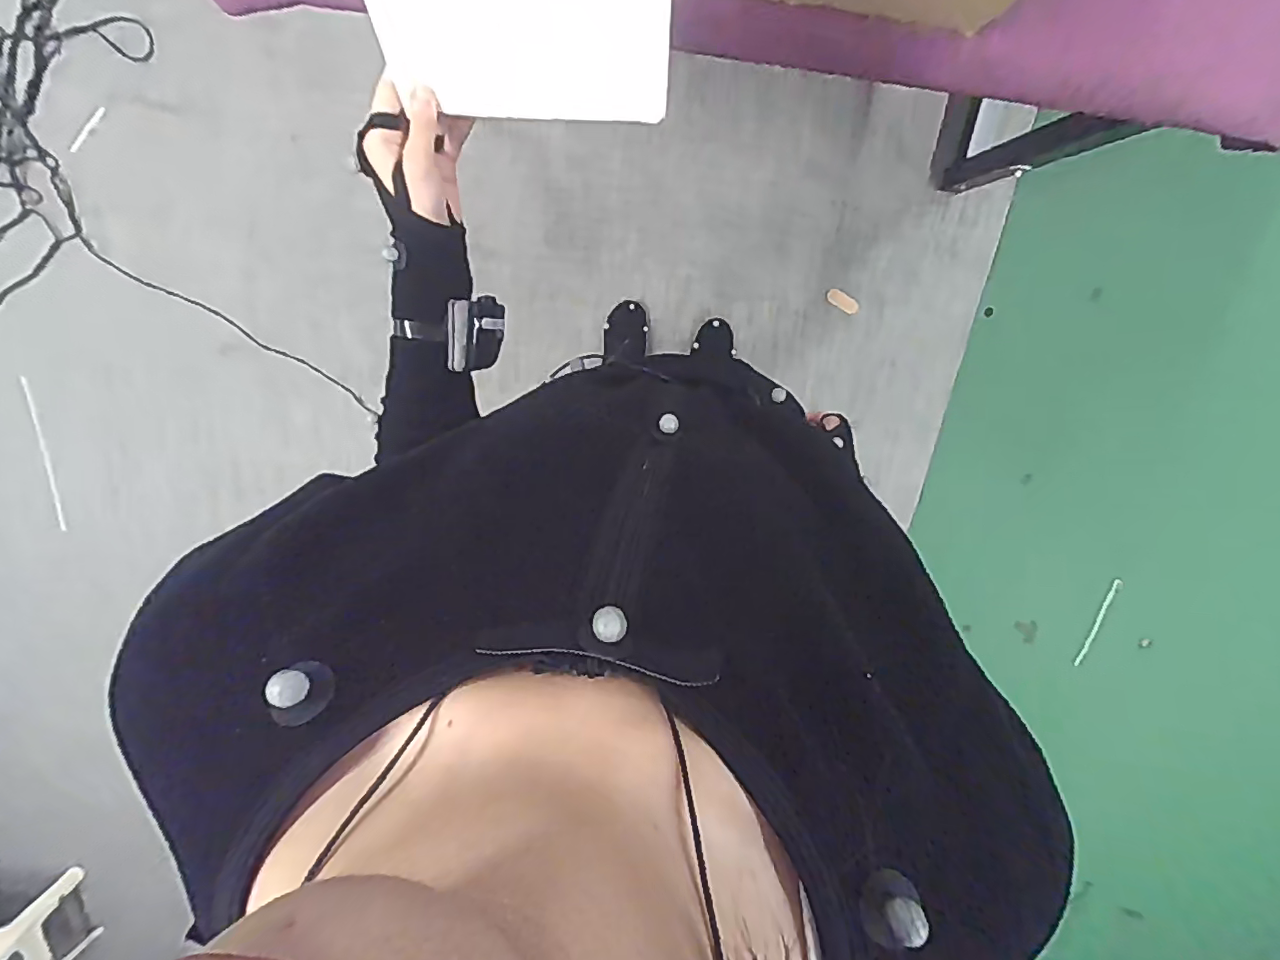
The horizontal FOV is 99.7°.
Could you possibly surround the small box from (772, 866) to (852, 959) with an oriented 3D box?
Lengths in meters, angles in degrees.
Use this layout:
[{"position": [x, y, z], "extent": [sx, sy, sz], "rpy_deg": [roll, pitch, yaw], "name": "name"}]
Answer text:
[{"position": [0.476, 1.220, 1.517], "extent": [0.179, 0.176, 0.168], "rpy_deg": [-3, 106, 3], "name": "small box"}]
